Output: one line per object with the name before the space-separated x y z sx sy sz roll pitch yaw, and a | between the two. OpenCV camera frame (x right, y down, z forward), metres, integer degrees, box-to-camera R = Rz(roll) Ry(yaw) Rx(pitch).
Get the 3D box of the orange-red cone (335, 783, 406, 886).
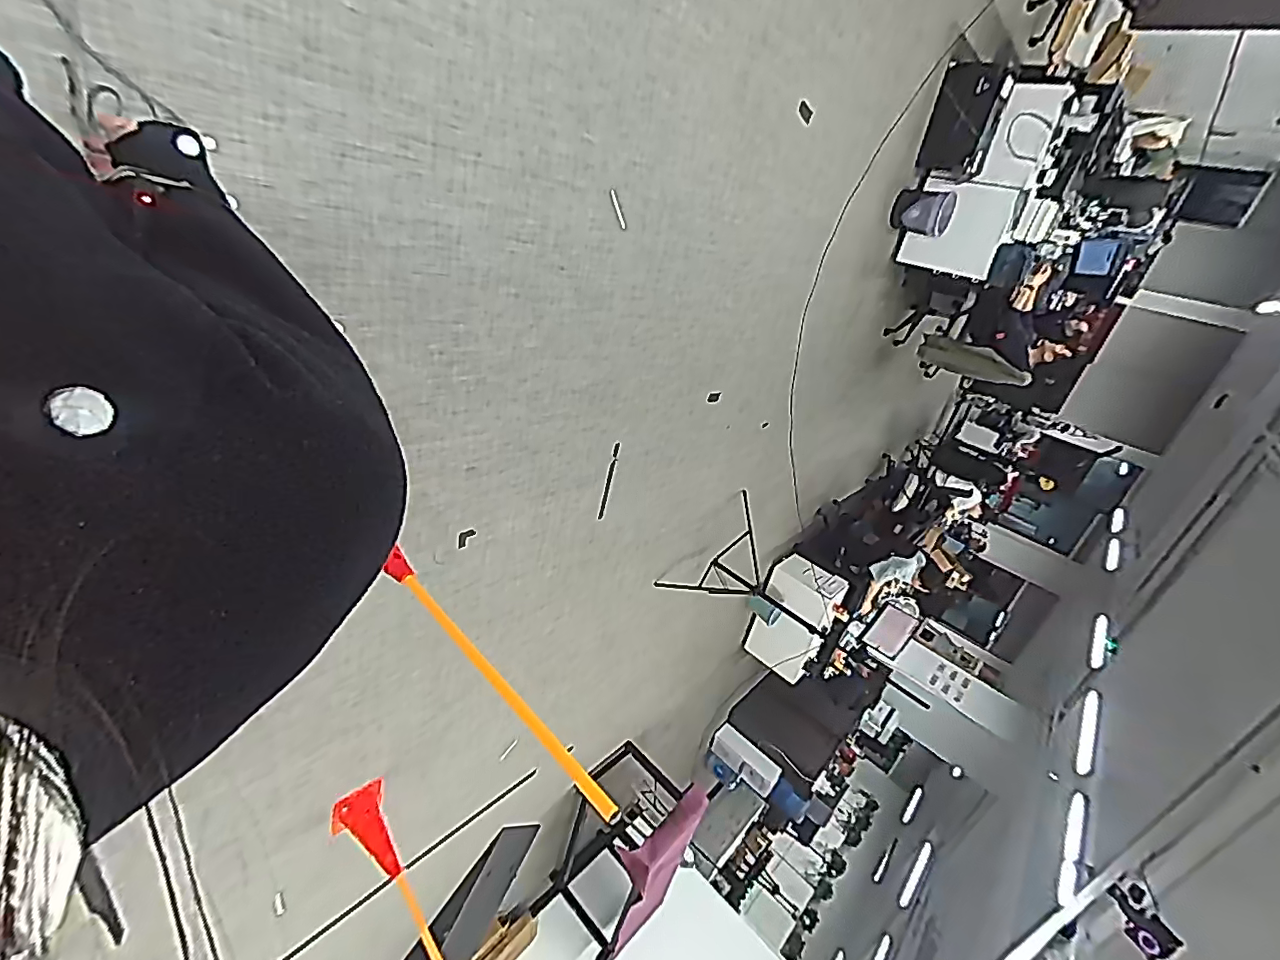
orange-red cone | -1.017 1.423 2.114 0.198 0.360 0.199 -13 127 -48
